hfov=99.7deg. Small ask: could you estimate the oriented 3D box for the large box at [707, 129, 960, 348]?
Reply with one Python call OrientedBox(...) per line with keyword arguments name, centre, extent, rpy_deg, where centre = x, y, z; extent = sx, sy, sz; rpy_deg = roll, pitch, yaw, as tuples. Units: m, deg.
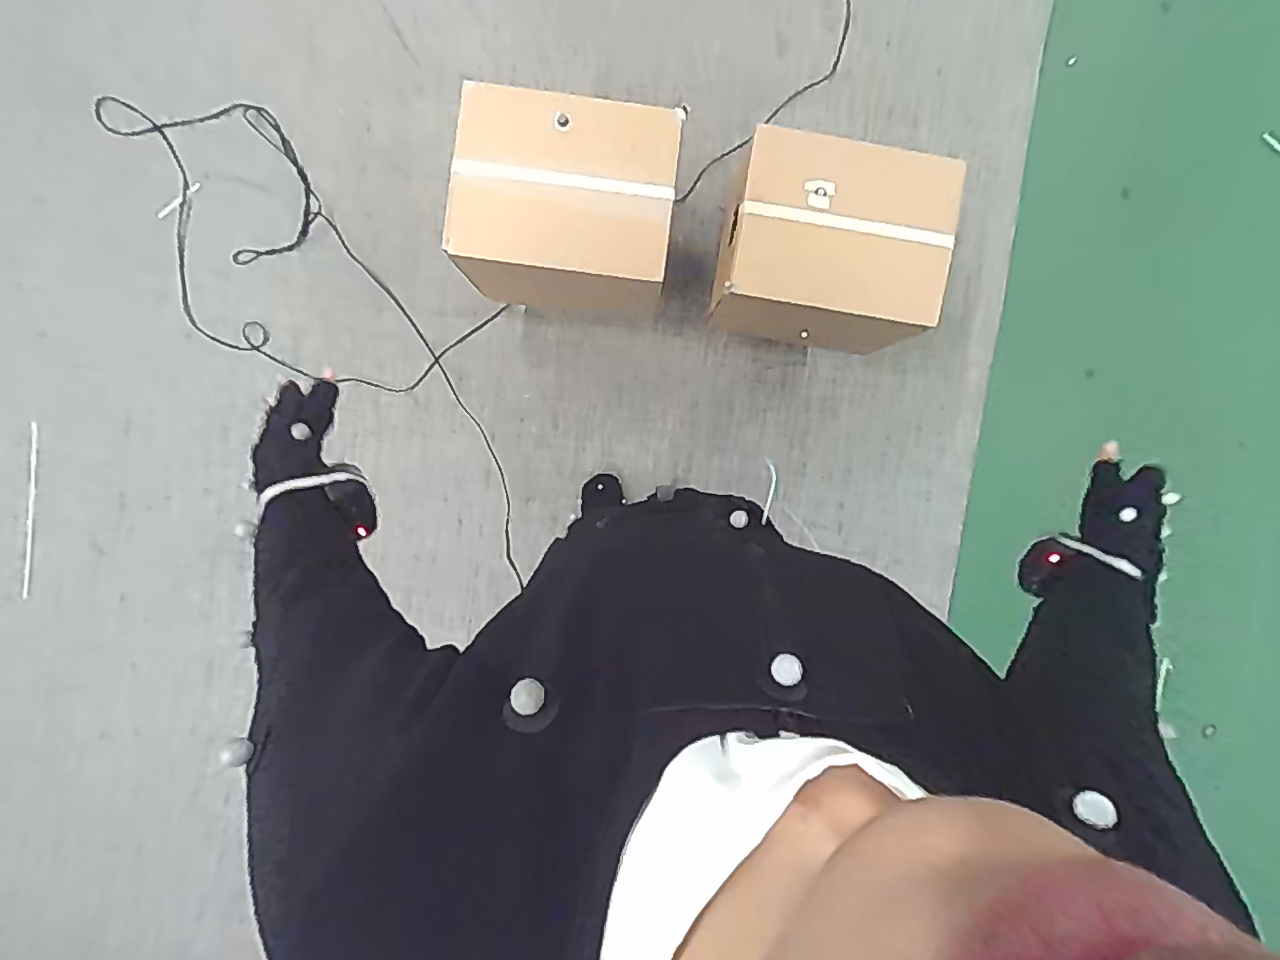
OrientedBox(name="large box", centre=(0.384, -0.487, 1.168), extent=(0.408, 0.320, 0.320), rpy_deg=(9, 93, -2))
